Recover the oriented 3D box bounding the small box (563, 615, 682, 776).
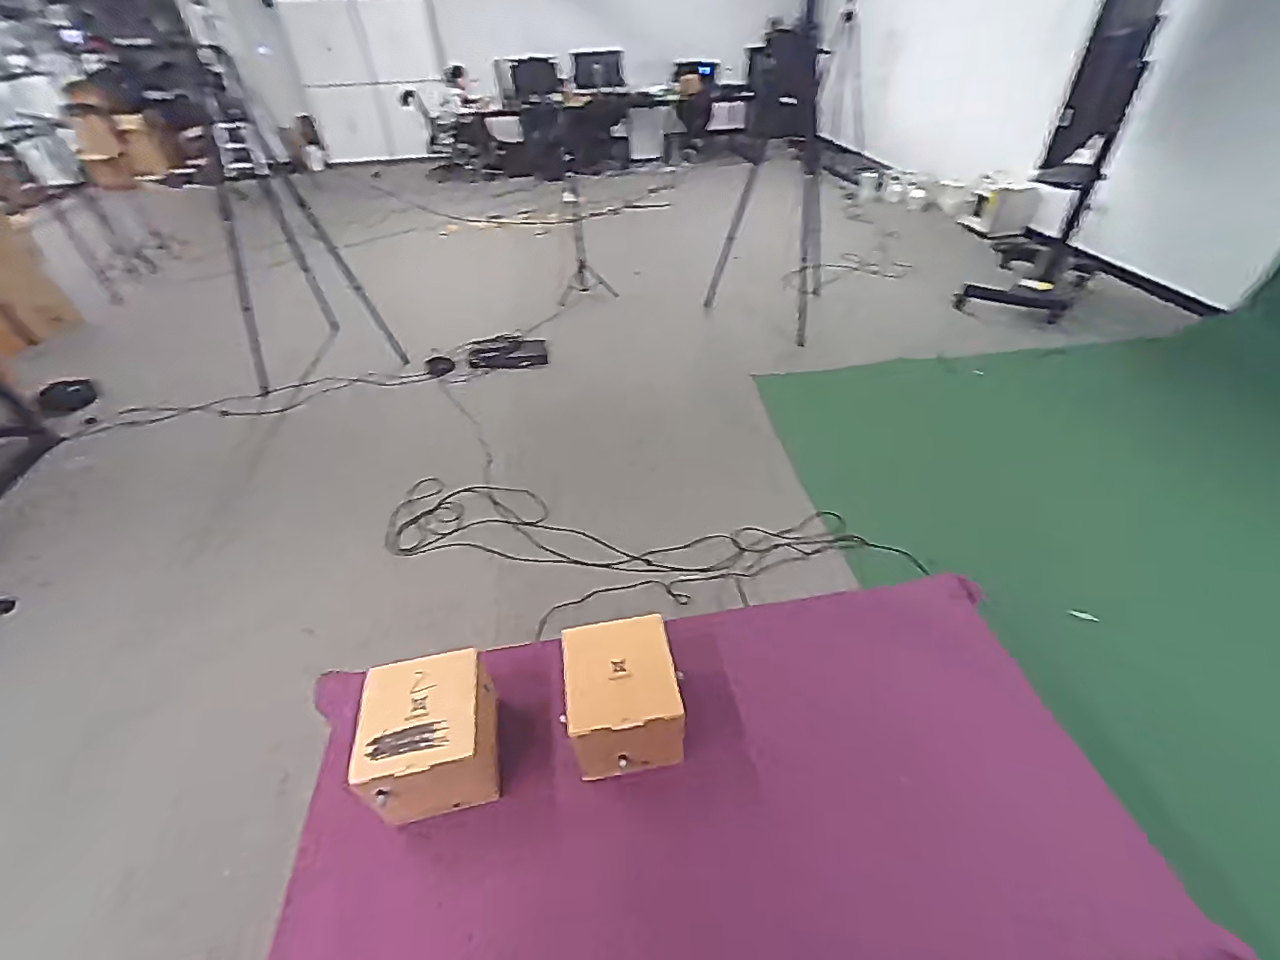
[{"bbox_3d":[-0.031,0.351,0.885,0.168,0.176,0.179,-9,43,-5],"label":"small box"}]
